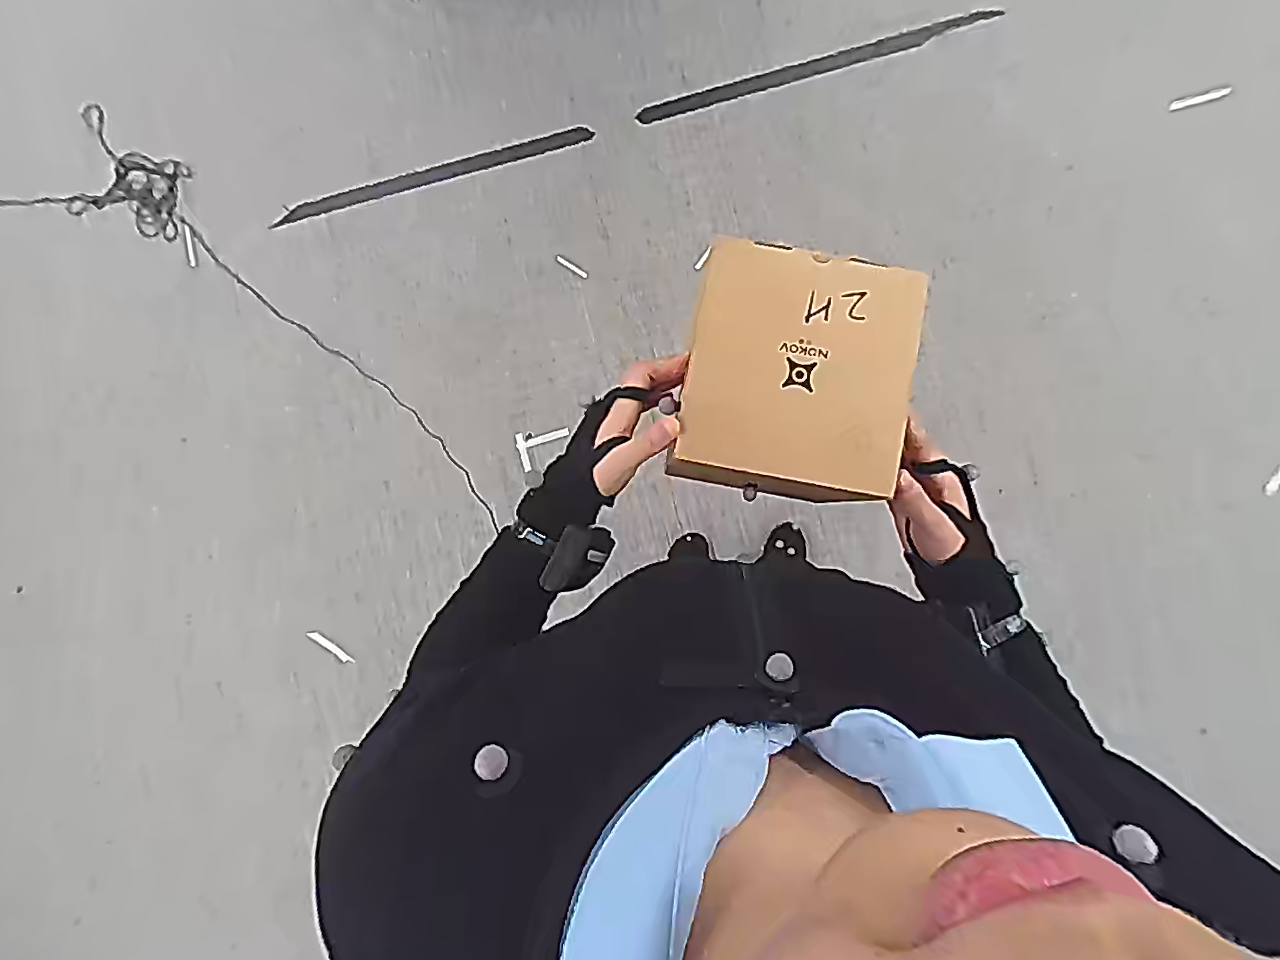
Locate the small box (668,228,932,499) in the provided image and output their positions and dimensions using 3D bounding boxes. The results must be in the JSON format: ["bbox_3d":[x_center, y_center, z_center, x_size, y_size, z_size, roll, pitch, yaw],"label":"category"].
[{"bbox_3d":[0.119,-0.082,0.472,0.168,0.176,0.179,10,85,0],"label":"small box"}]
